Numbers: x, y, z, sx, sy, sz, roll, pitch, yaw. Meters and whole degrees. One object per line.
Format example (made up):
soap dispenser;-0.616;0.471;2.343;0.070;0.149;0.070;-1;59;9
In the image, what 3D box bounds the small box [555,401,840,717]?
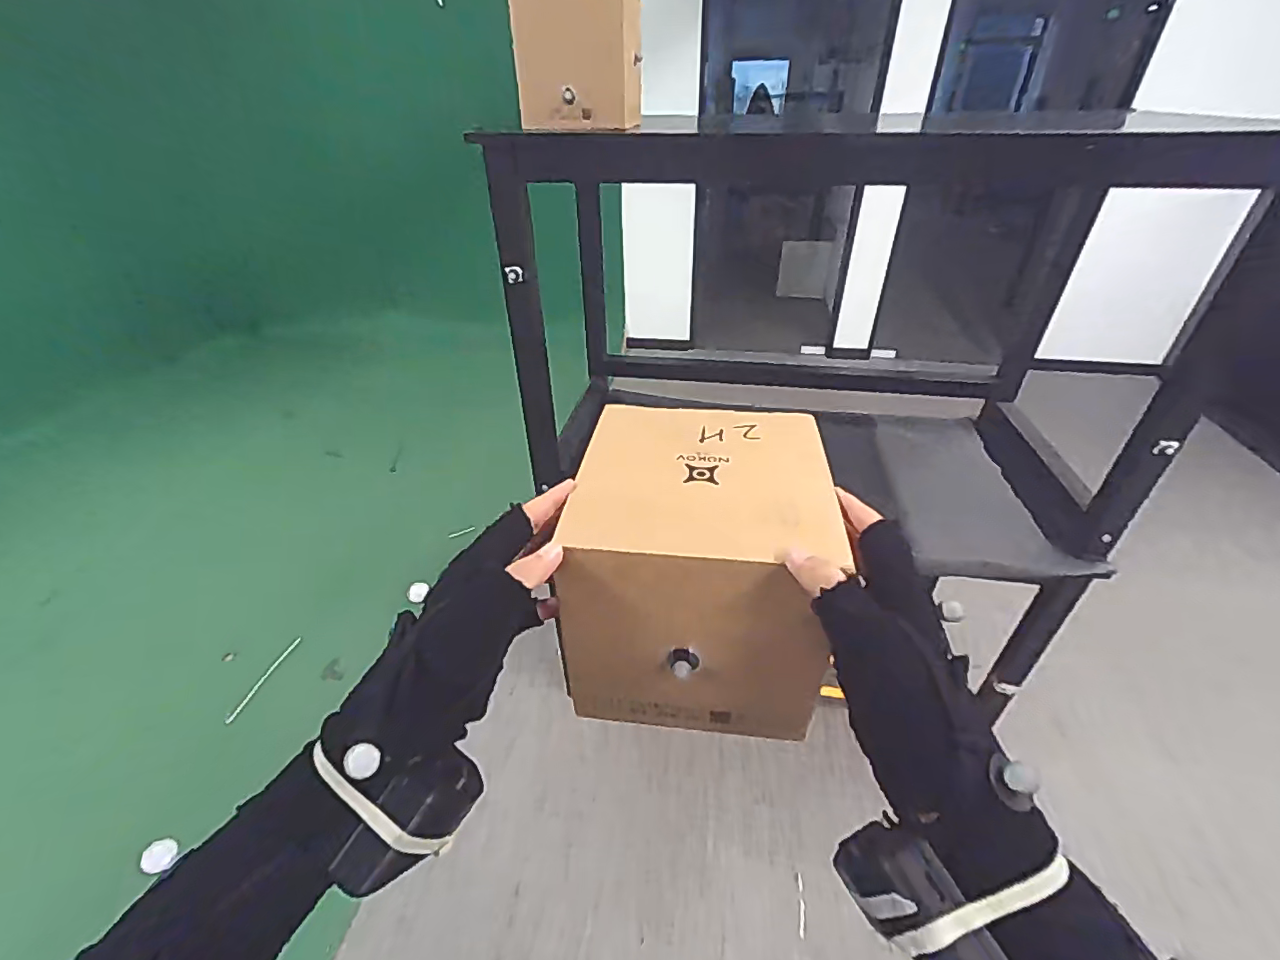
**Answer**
small box;0.044;0.055;0.417;0.168;0.176;0.179;4;35;7
